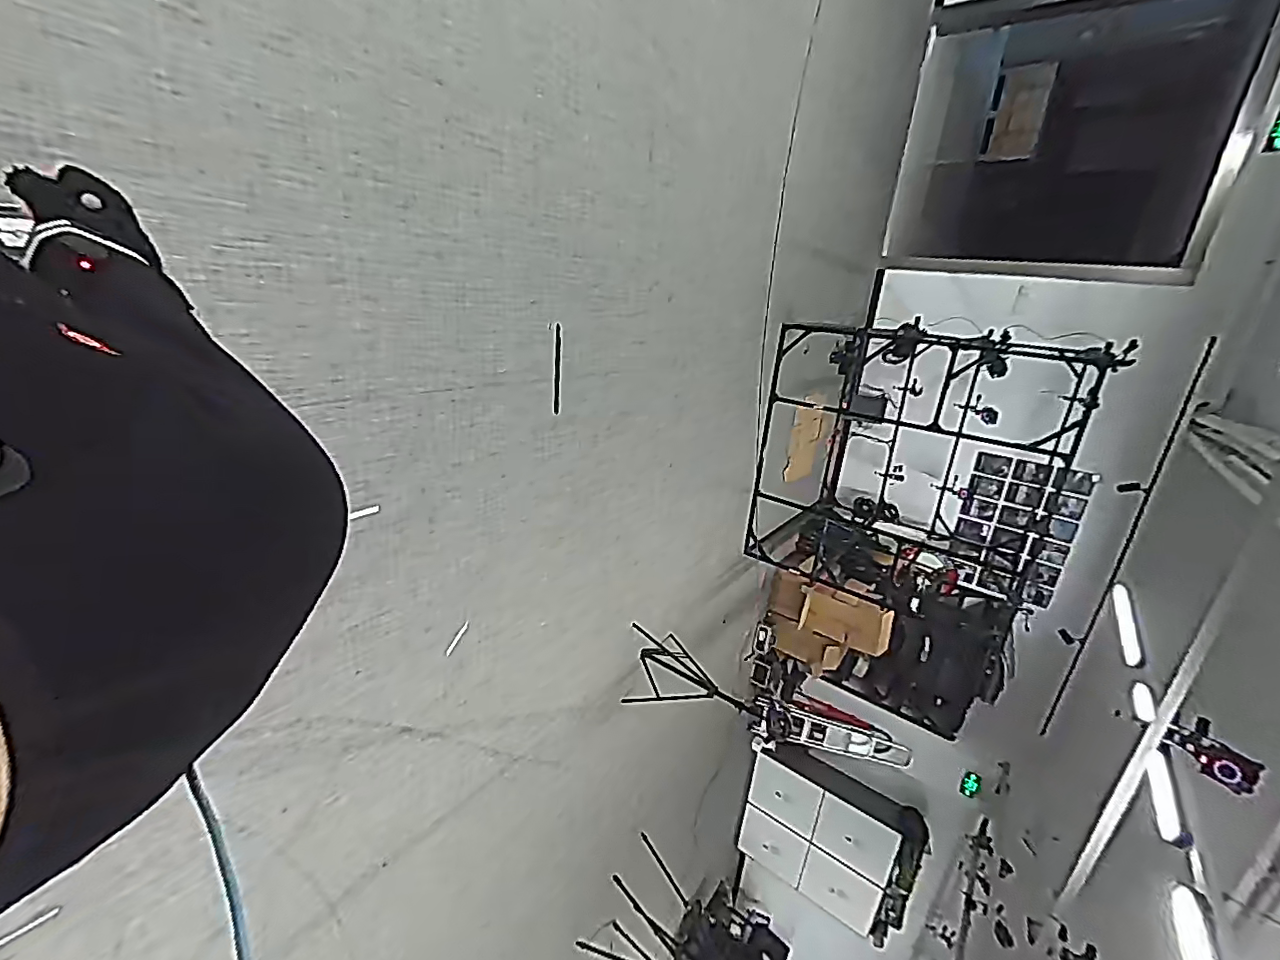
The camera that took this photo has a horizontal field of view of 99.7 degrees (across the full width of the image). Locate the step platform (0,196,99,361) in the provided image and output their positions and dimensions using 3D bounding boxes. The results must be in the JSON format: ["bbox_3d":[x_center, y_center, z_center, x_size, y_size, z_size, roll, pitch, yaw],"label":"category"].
[{"bbox_3d":[-1.331,-0.325,0.844,0.684,0.204,0.286,-23,124,-51],"label":"step platform"}]
